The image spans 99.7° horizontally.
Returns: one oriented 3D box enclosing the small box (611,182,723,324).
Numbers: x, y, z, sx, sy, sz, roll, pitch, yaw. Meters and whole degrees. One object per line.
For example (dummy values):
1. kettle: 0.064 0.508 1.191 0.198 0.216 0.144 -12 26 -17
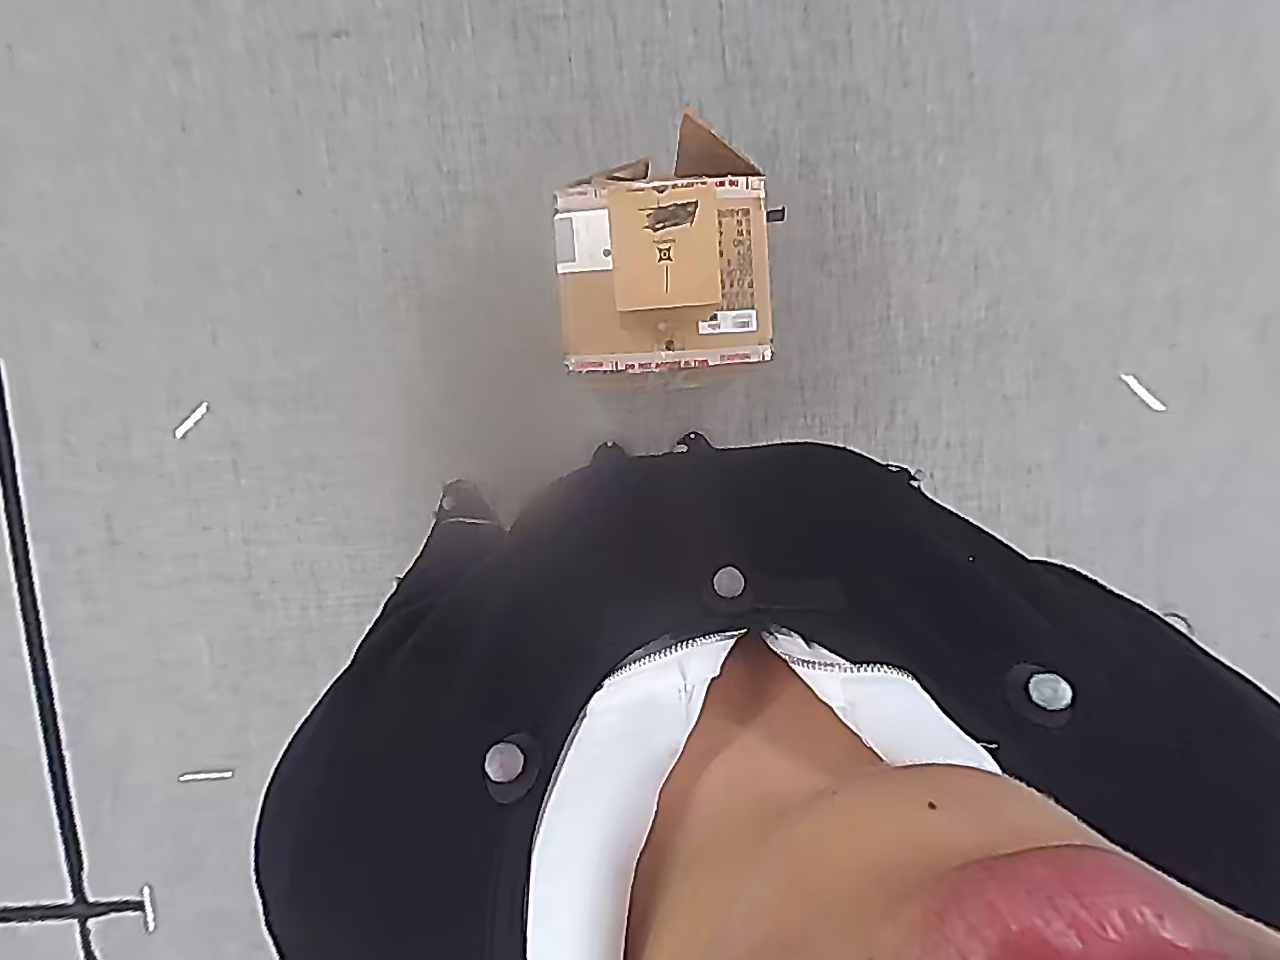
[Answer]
1. small box: 0.040 -0.365 0.897 0.168 0.176 0.179 -4 98 0
